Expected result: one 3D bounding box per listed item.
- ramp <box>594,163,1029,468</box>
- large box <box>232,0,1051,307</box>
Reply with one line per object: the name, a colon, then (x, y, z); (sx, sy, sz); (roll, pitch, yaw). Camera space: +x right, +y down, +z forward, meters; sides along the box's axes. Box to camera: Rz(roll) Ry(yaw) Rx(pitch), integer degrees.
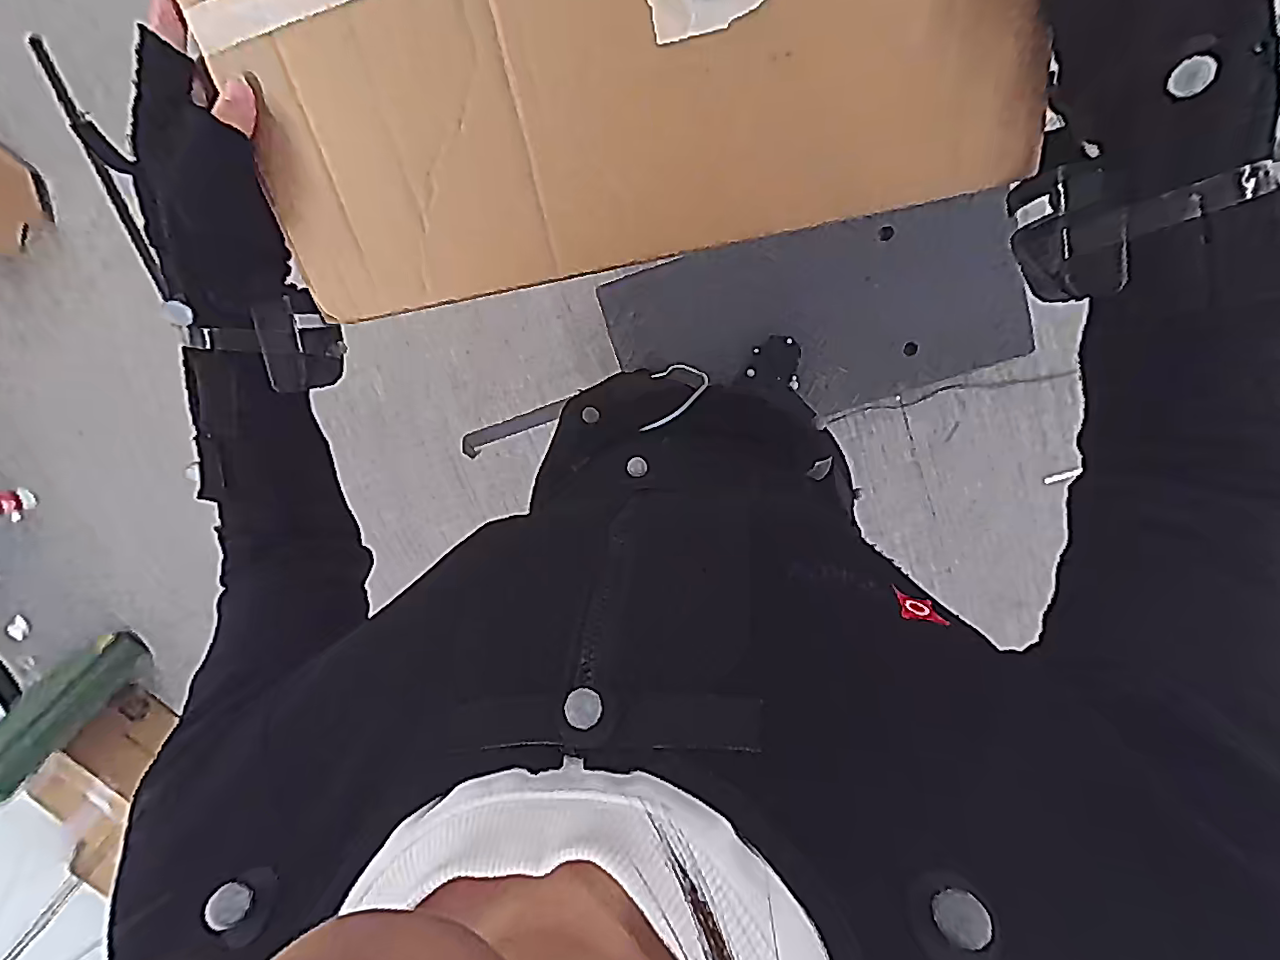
ramp: (0.428, -0.407, 1.355); (0.991, 0.206, 0.509); (-17, 101, 15)
large box: (-0.004, -0.337, 0.378); (0.408, 0.320, 0.320); (-6, 116, 14)
